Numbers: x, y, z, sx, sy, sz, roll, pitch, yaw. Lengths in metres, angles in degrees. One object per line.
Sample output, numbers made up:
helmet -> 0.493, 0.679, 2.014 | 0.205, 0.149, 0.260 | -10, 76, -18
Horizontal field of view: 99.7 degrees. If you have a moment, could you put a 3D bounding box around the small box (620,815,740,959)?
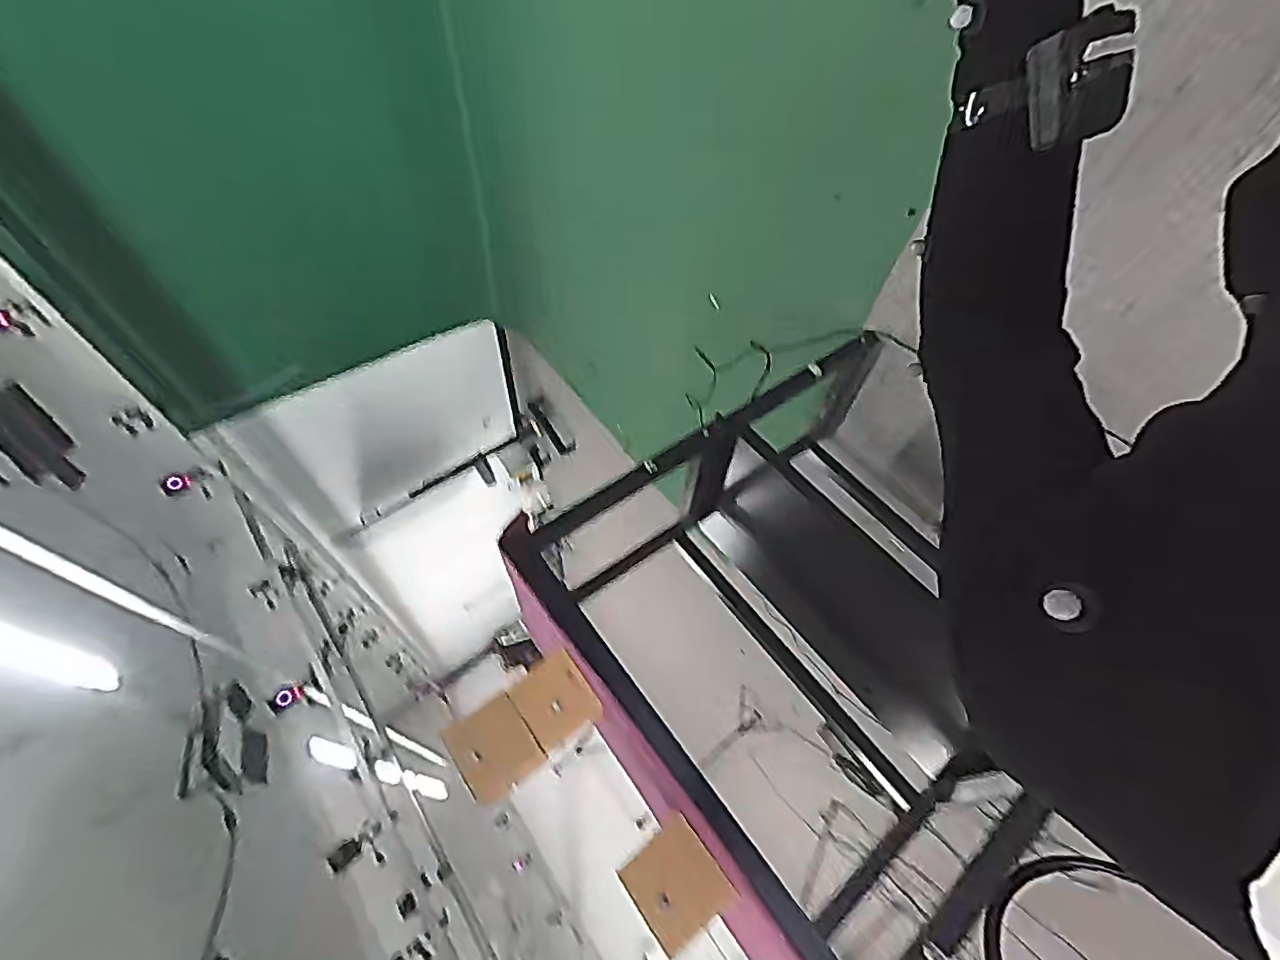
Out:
small box -> 0.079, 0.818, 1.089 | 0.179, 0.176, 0.168 | 46, 155, 28

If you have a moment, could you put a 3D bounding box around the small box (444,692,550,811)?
small box -> -0.321, 0.630, 1.257 | 0.179, 0.176, 0.168 | 48, 156, 25

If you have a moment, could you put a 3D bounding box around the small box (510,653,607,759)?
small box -> -0.194, 0.552, 1.326 | 0.168, 0.176, 0.179 | 49, 157, 21
